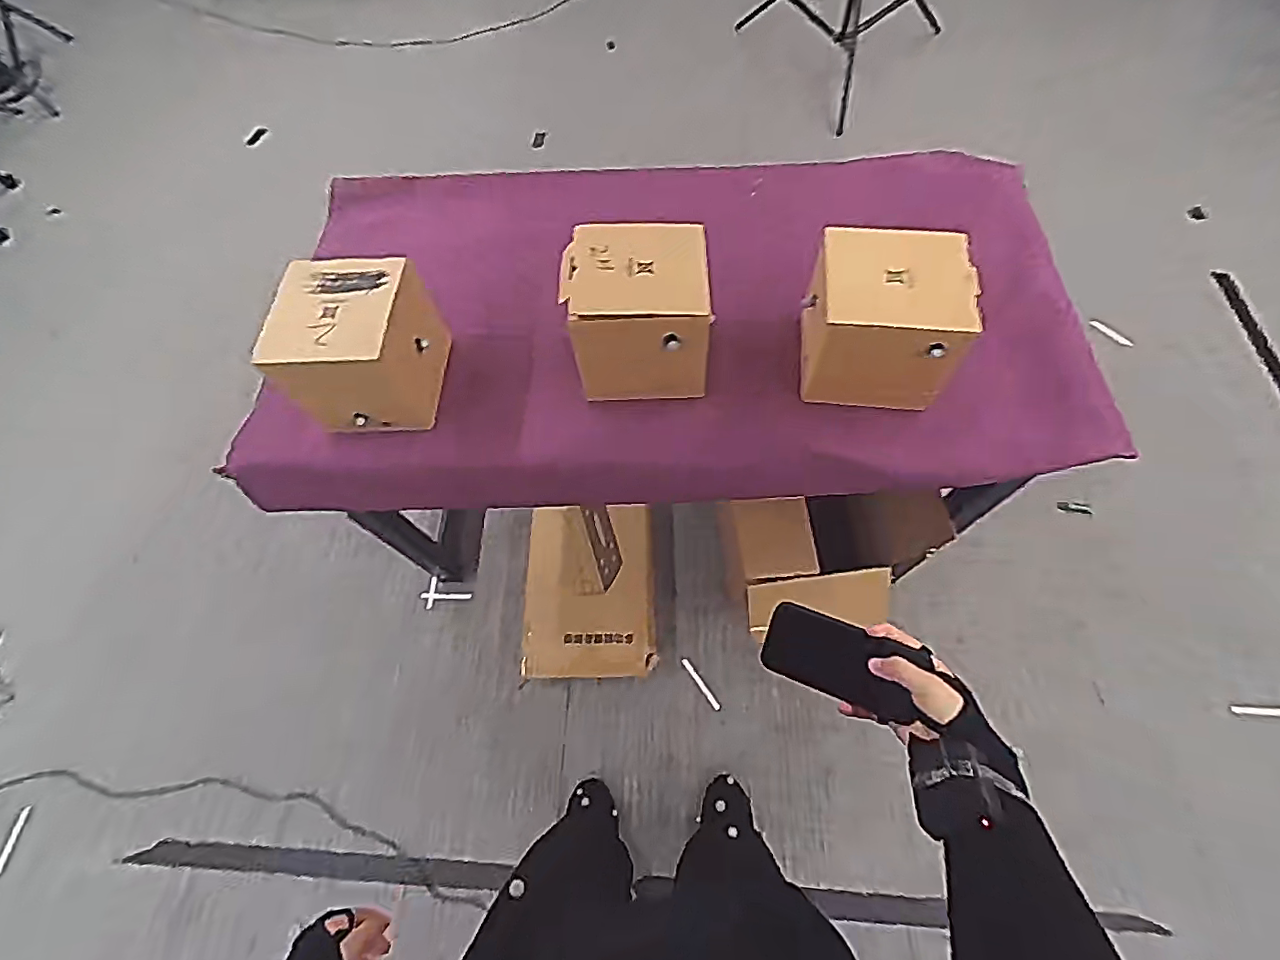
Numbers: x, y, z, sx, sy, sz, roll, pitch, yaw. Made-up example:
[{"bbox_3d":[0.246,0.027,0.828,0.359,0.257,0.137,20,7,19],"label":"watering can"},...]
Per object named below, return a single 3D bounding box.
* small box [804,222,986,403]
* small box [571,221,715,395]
[{"bbox_3d":[0.324,-0.219,0.731,0.179,0.176,0.168,5,65,6],"label":"small box"},{"bbox_3d":[0.007,-0.233,0.756,0.179,0.176,0.168,-2,62,3],"label":"small box"}]
